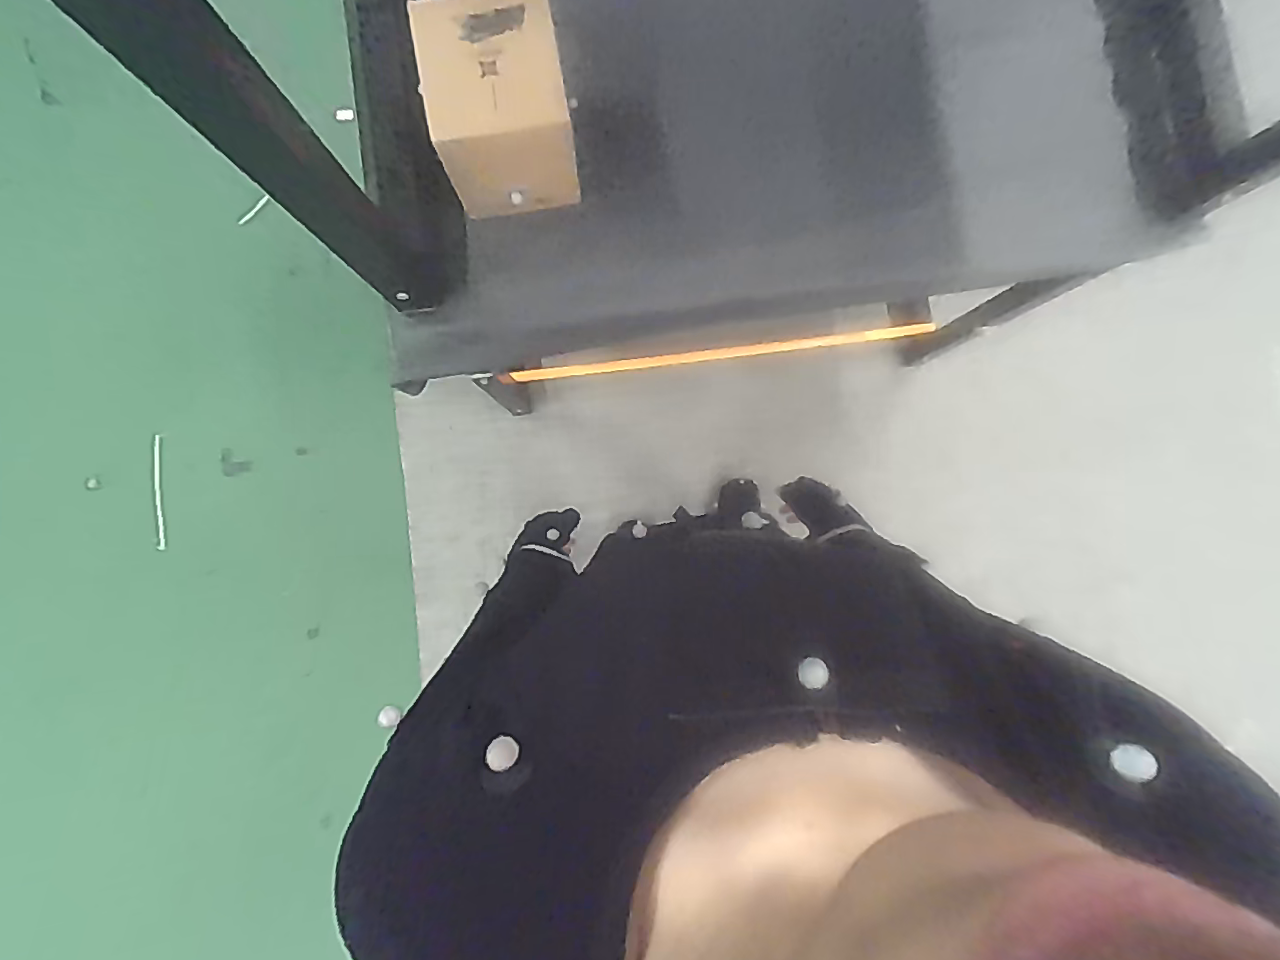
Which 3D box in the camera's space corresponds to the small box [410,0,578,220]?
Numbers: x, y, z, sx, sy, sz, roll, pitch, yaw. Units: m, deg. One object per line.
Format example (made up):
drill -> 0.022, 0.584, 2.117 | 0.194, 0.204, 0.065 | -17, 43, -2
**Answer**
small box -> -0.180, -0.479, 0.712 | 0.168, 0.176, 0.179 | -10, 87, -2
